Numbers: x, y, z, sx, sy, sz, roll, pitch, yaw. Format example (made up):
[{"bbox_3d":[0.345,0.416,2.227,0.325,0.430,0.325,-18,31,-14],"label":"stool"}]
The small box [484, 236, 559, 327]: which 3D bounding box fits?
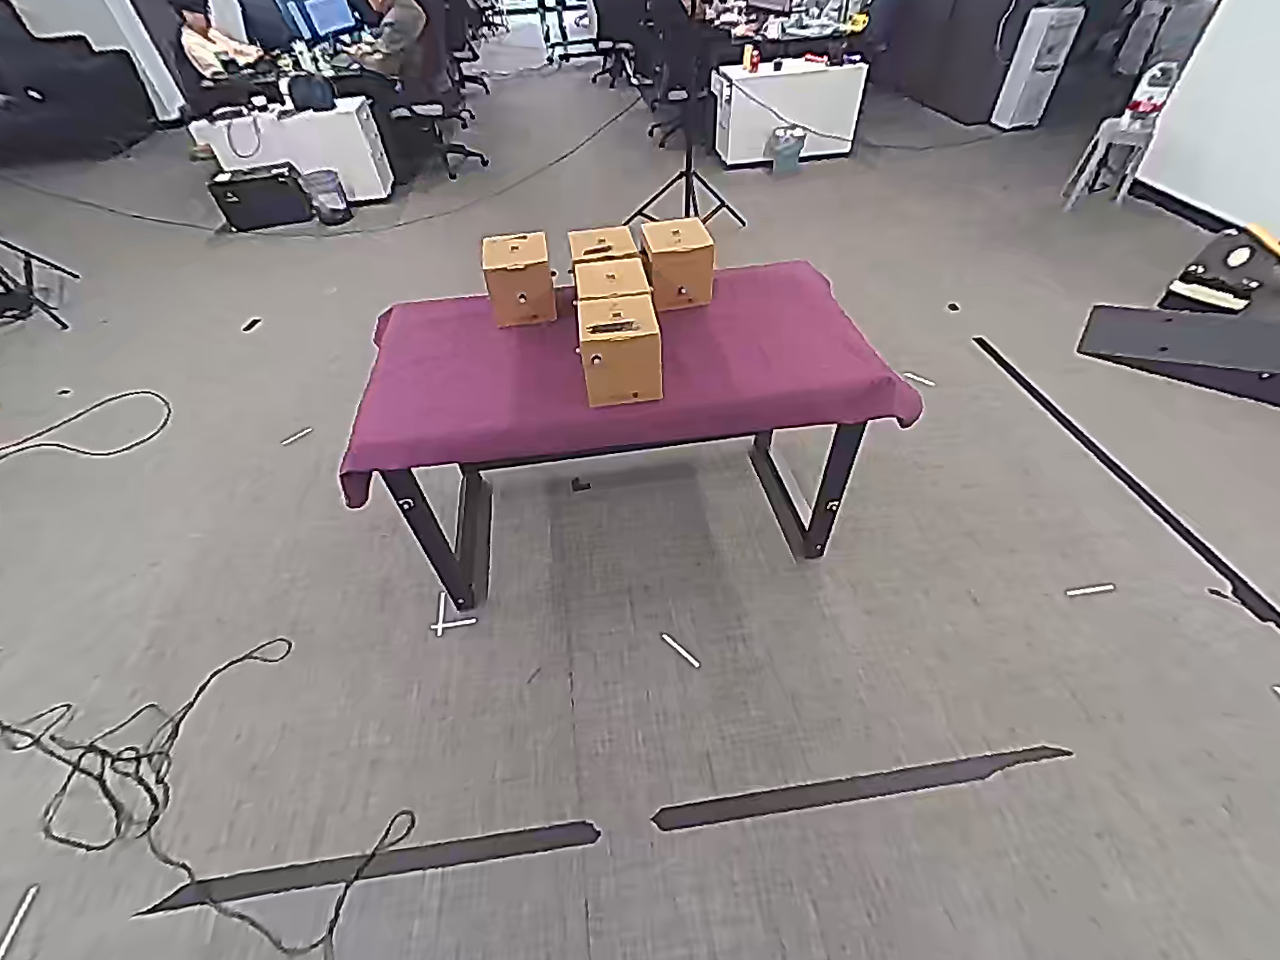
[{"bbox_3d":[-0.316,-0.527,1.454,0.168,0.176,0.179,-9,50,-5],"label":"small box"}]
